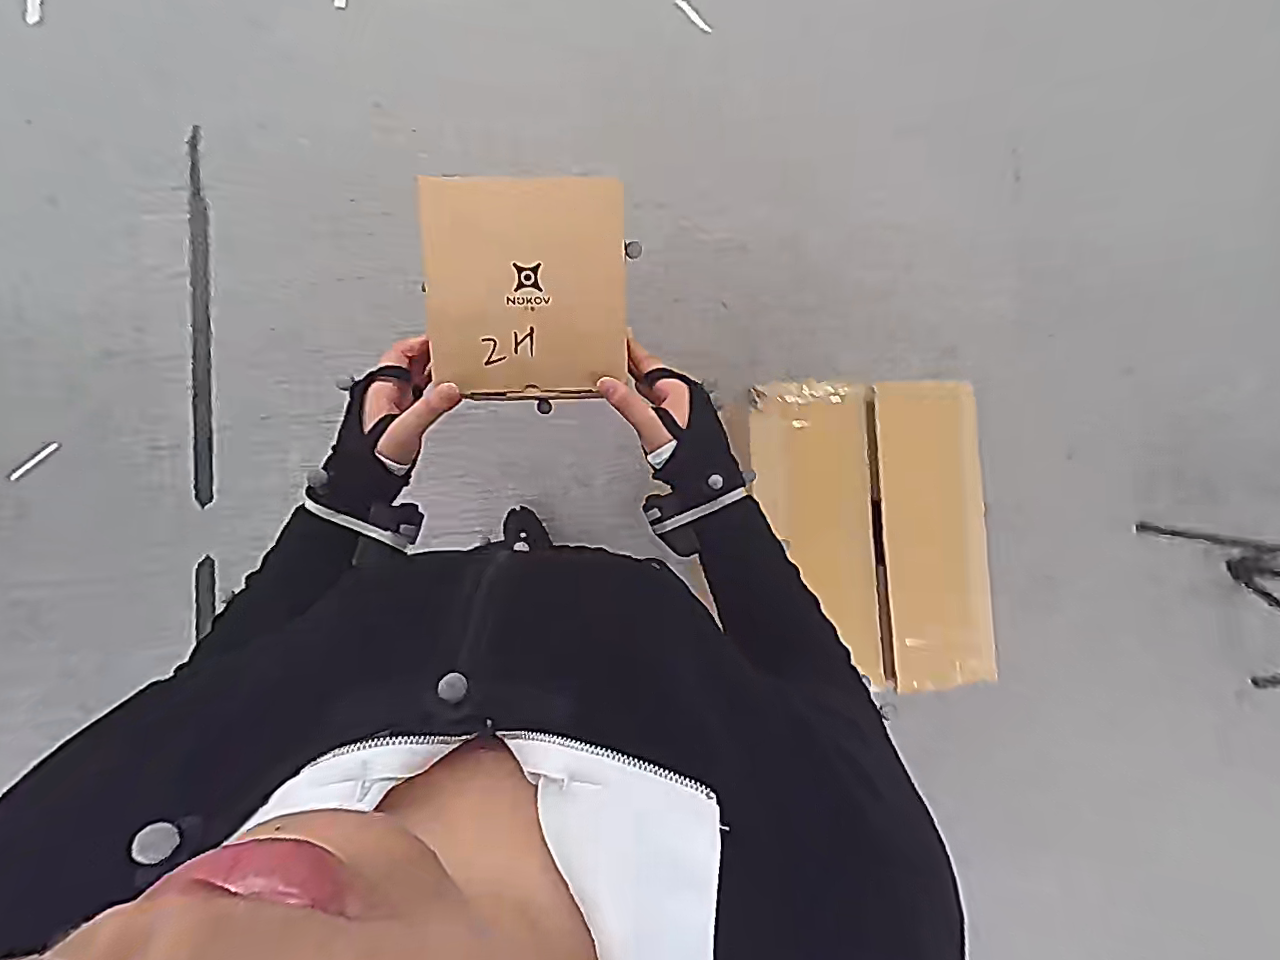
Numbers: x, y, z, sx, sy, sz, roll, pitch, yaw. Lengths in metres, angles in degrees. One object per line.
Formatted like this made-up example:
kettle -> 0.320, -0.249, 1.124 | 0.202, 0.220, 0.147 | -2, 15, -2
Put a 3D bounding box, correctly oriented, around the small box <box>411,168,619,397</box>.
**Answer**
small box -> -0.108, -0.175, 0.527 | 0.168, 0.176, 0.179 | -3, 96, -4
